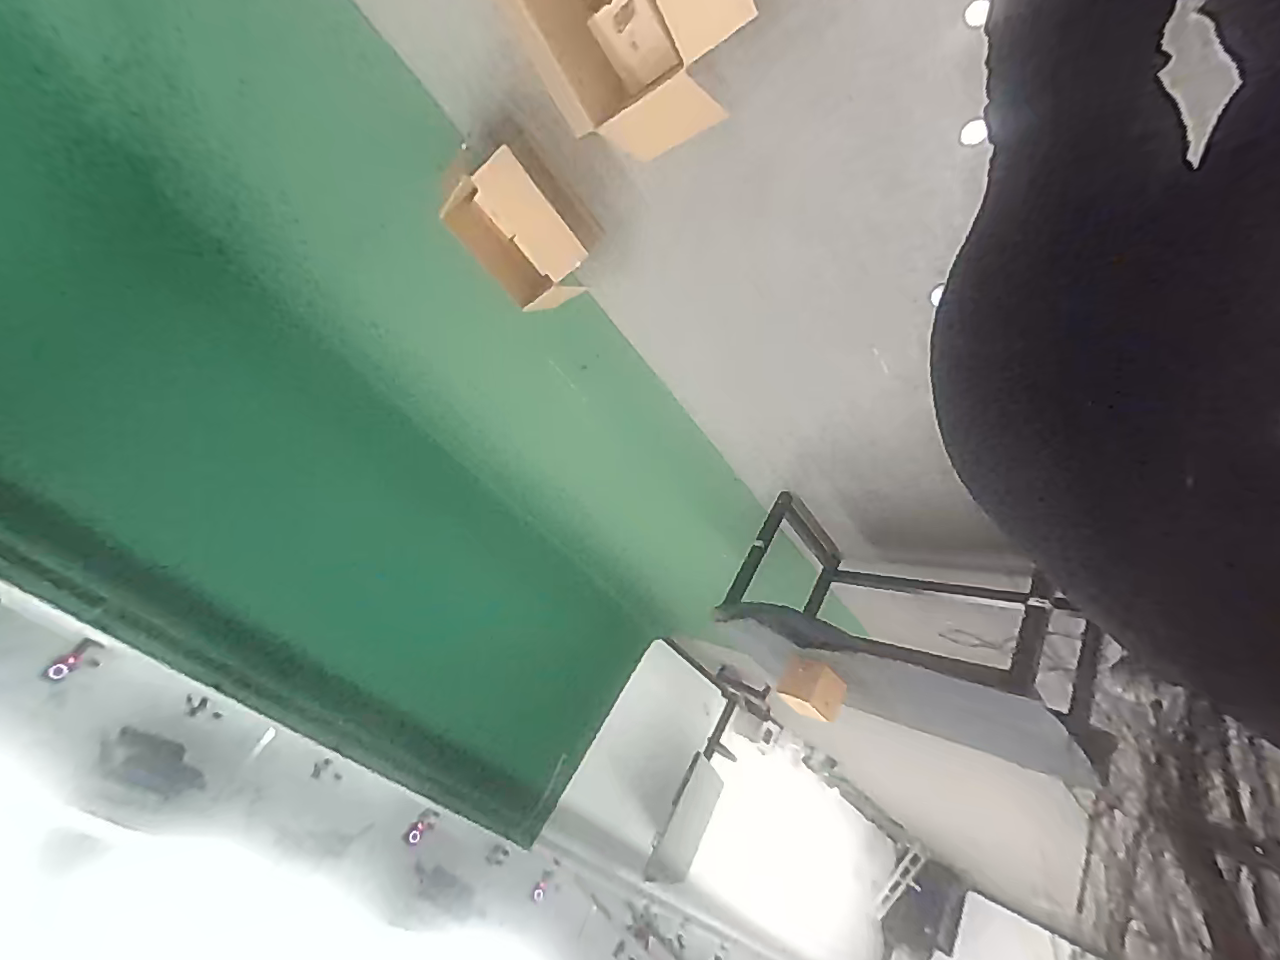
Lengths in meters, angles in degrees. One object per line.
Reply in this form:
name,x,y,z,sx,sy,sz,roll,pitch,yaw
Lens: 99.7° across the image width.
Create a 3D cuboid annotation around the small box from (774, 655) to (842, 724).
small box,0.670,0.823,2.138,0.179,0.176,0.168,46,153,-24
